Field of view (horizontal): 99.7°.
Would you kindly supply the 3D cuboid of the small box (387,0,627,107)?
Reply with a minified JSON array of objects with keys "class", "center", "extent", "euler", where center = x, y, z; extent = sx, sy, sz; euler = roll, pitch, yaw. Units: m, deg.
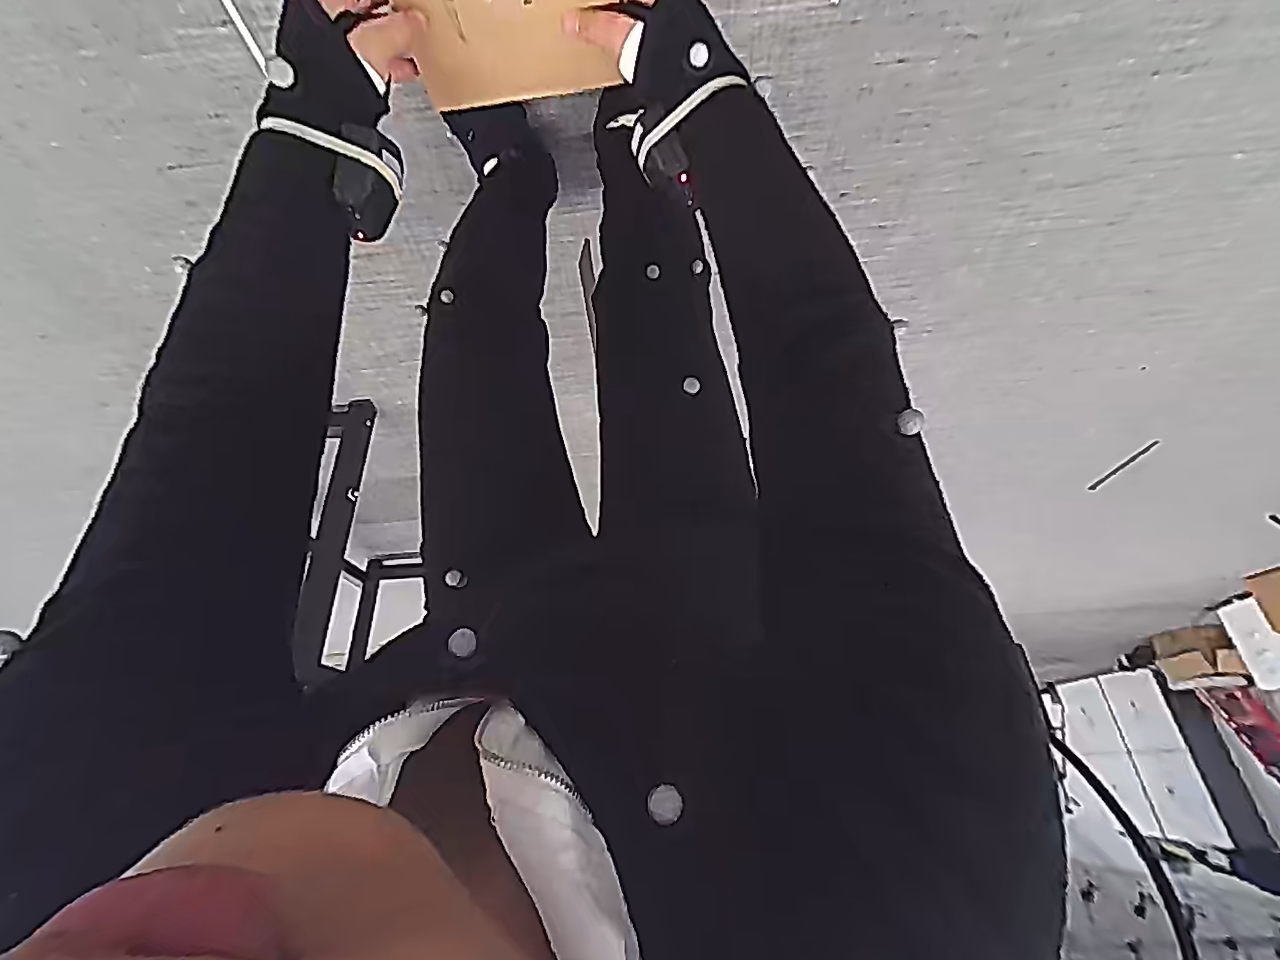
[{"class":"small box","center":[-0.110,-0.444,0.432],"extent":[0.179,0.176,0.168],"euler":[-5,152,5]}]

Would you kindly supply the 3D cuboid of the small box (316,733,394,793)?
[{"class":"small box","center":[-0.956,0.959,1.833],"extent":[0.179,0.176,0.168],"euler":[-3,150,-1]}]
